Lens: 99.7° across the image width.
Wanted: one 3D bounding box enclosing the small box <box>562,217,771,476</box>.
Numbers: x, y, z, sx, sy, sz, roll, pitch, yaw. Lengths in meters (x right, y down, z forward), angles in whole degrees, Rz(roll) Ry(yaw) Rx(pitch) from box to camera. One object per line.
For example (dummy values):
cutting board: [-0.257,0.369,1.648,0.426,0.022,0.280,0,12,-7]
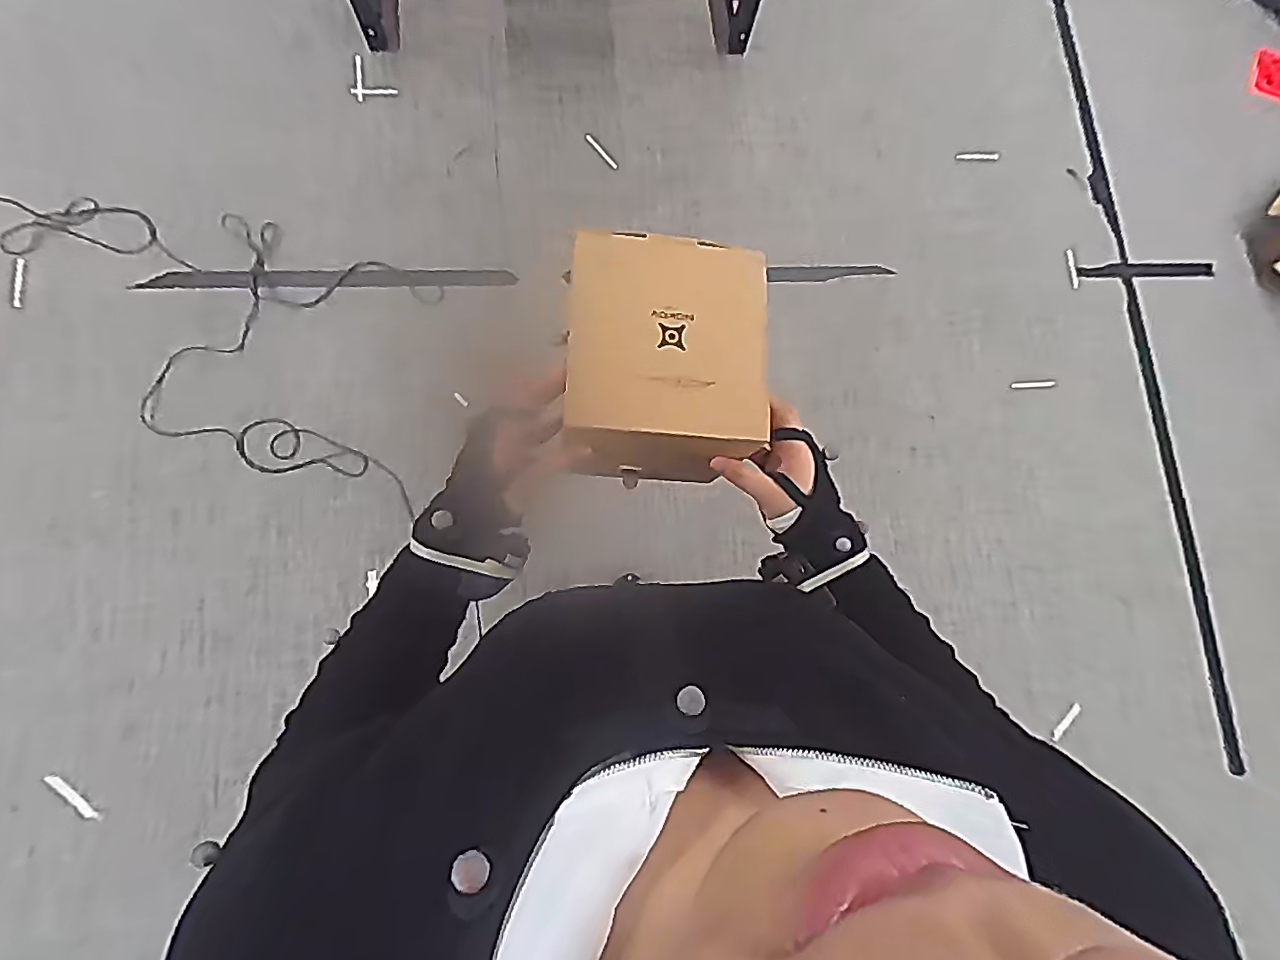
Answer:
small box: [0.015,-0.111,0.517,0.168,0.176,0.179,4,78,-8]
